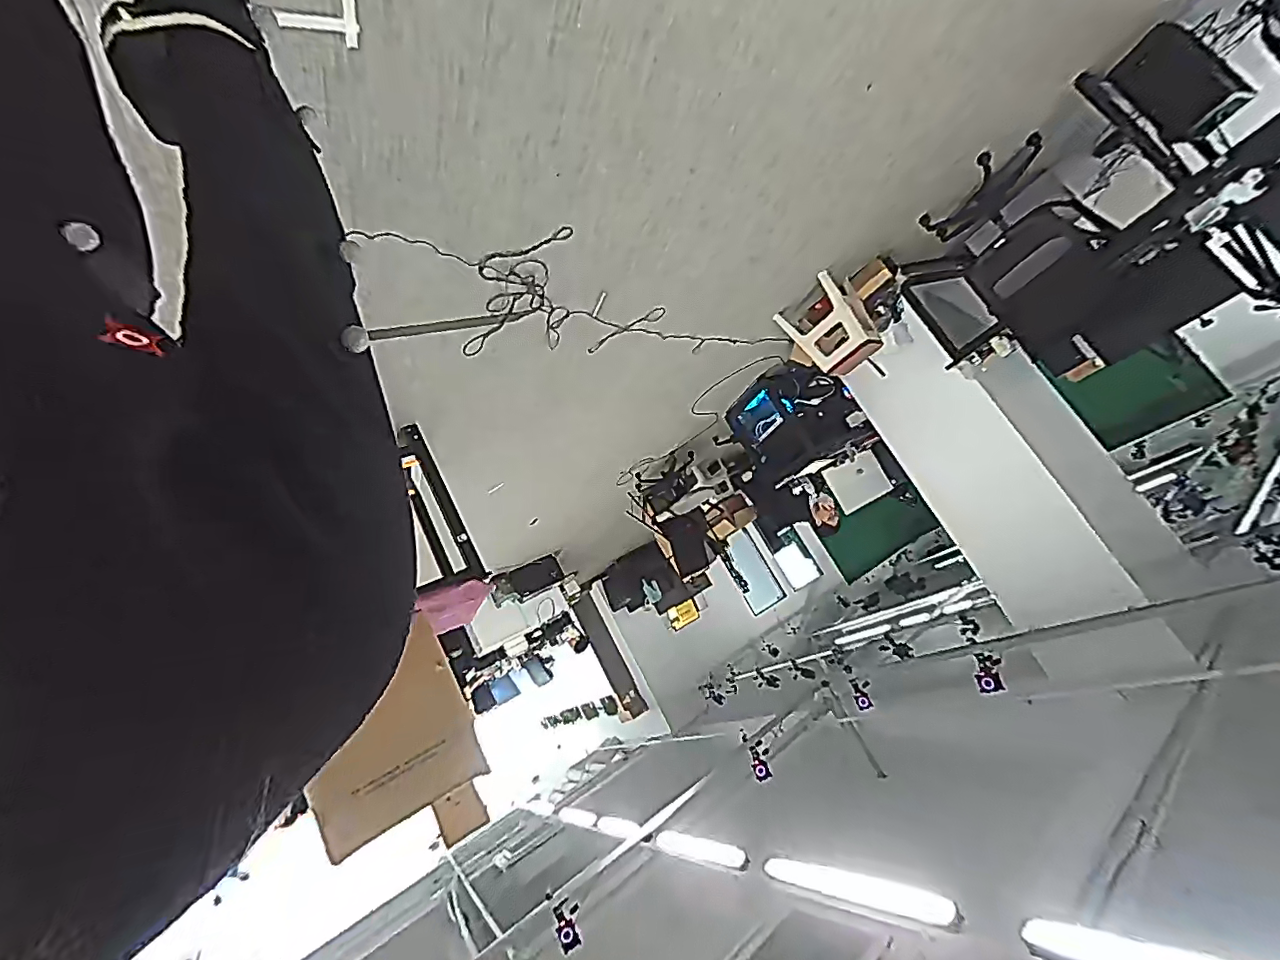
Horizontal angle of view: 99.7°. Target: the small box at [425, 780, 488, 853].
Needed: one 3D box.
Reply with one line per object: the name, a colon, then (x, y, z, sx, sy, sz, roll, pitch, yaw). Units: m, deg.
small box: (-0.686, 1.240, 2.010, 0.168, 0.176, 0.179, -21, 164, -31)
